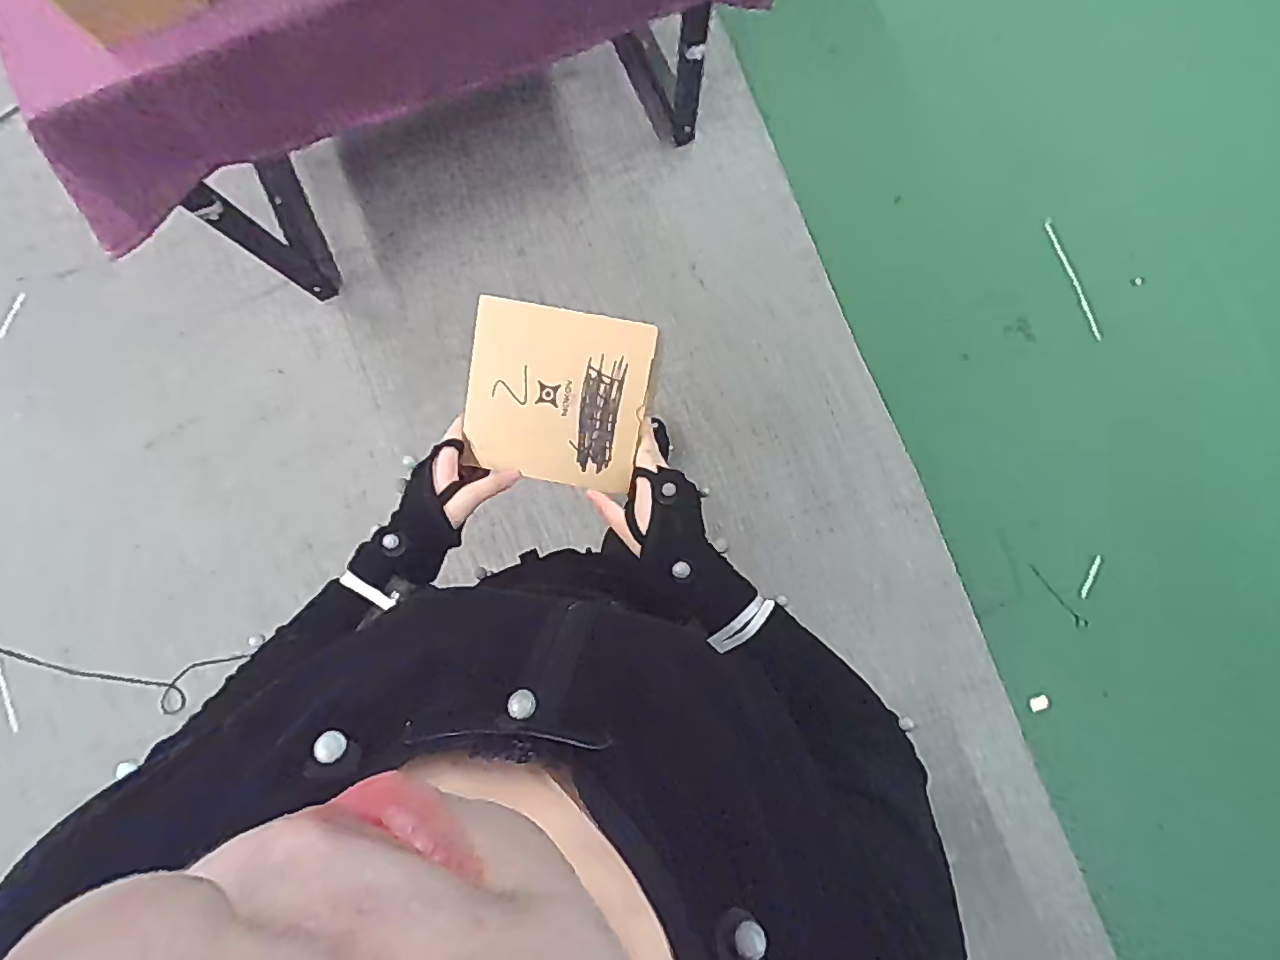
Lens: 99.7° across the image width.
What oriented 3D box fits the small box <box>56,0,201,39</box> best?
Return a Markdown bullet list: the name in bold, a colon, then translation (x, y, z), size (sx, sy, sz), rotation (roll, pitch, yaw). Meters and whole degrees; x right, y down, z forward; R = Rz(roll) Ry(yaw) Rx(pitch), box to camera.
- **small box**: translation (-0.763, -0.766, 0.743), size (0.179, 0.176, 0.168), rotation (-24, 86, -4)
